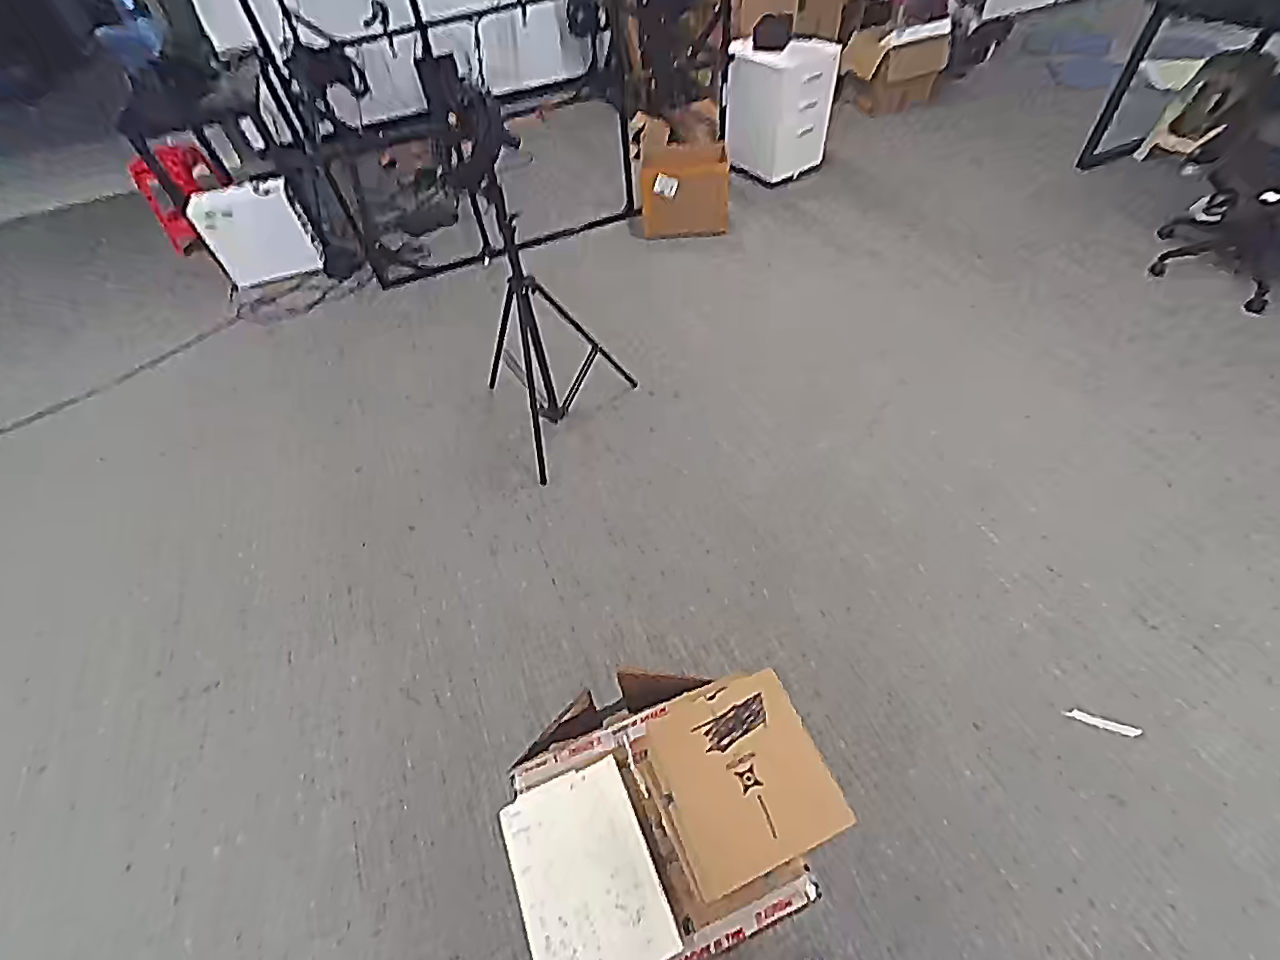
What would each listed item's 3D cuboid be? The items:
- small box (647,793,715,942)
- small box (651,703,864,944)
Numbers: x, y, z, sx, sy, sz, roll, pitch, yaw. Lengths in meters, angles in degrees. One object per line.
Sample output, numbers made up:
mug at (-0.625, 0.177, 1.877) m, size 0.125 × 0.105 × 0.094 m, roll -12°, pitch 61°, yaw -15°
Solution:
small box at (0.121, 0.500, 0.757) m, size 0.179 × 0.176 × 0.168 m, roll -22°, pitch 54°, yaw -14°
small box at (0.118, 0.396, 0.629) m, size 0.168 × 0.176 × 0.179 m, roll -19°, pitch 54°, yaw -12°
